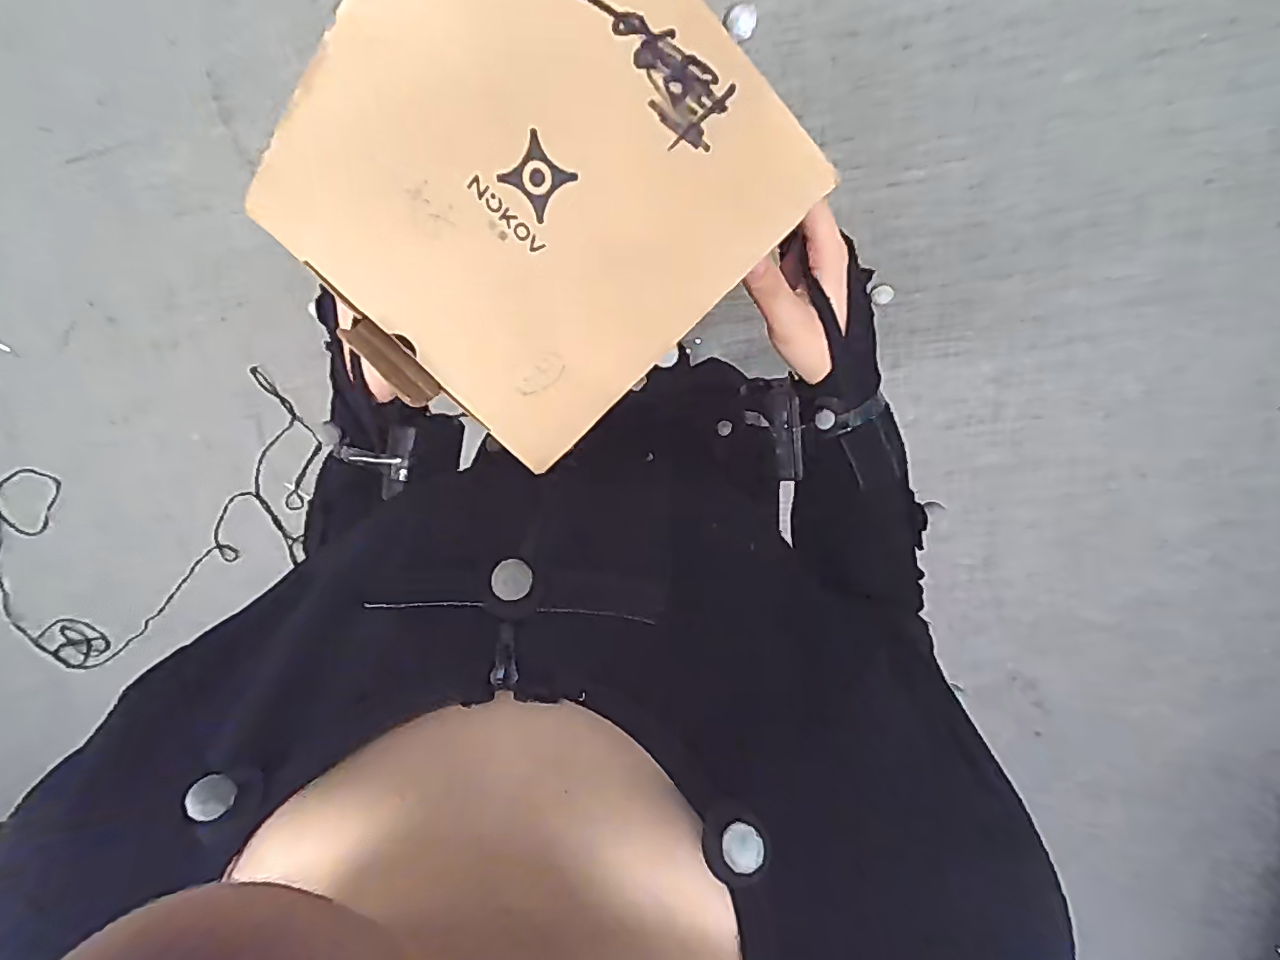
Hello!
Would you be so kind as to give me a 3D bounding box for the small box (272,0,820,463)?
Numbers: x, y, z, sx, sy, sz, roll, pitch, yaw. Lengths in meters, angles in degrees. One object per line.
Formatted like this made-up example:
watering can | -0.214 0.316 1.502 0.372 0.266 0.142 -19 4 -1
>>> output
small box | -0.035 -0.146 0.290 0.168 0.176 0.179 43 113 -13
